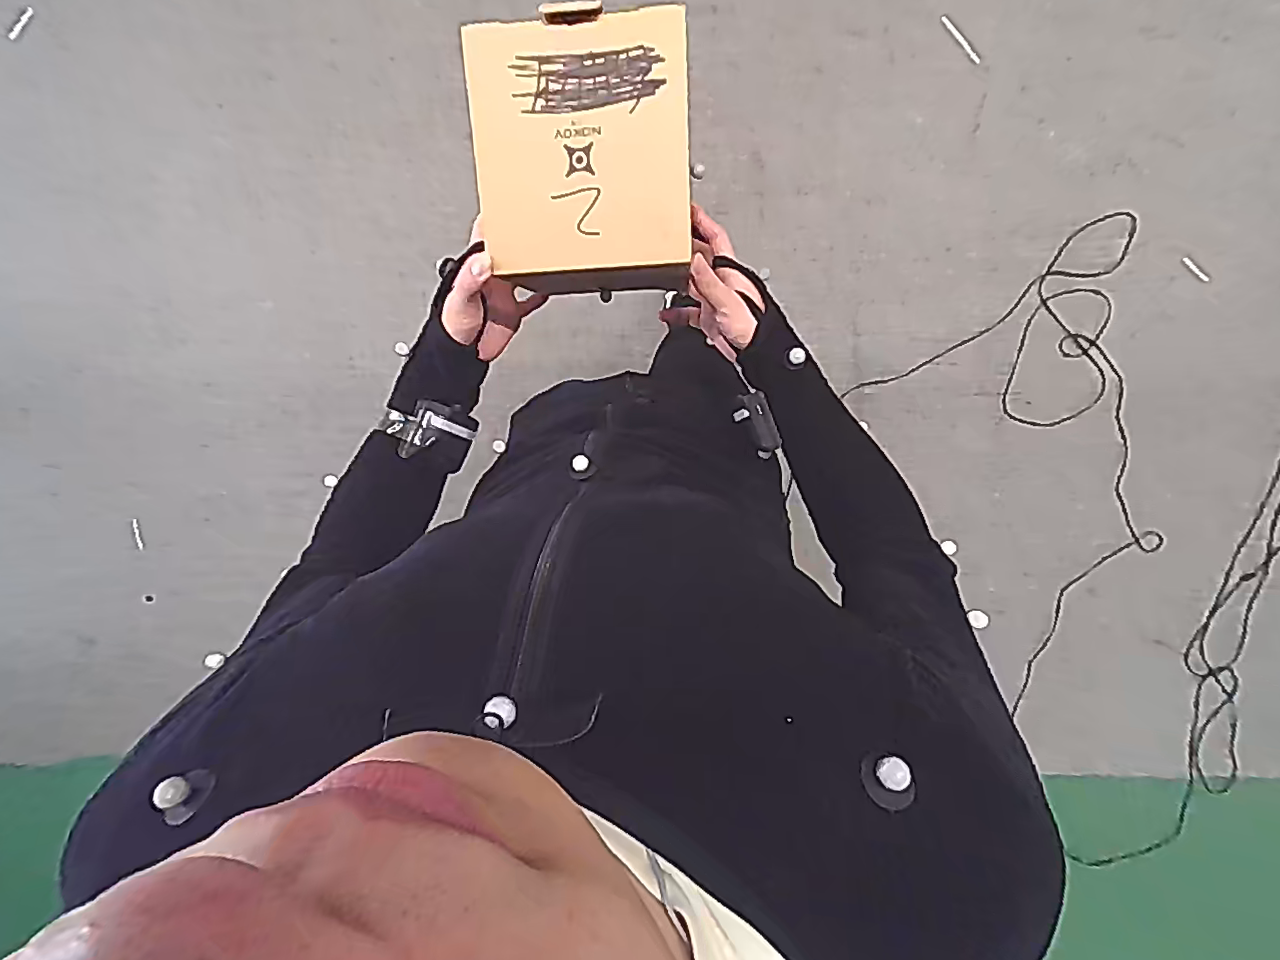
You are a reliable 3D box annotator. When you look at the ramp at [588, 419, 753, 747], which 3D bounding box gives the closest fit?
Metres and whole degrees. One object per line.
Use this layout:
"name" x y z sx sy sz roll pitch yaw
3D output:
"ramp" 0.094 0.322 1.637 0.509 0.206 0.991 -2 104 4
